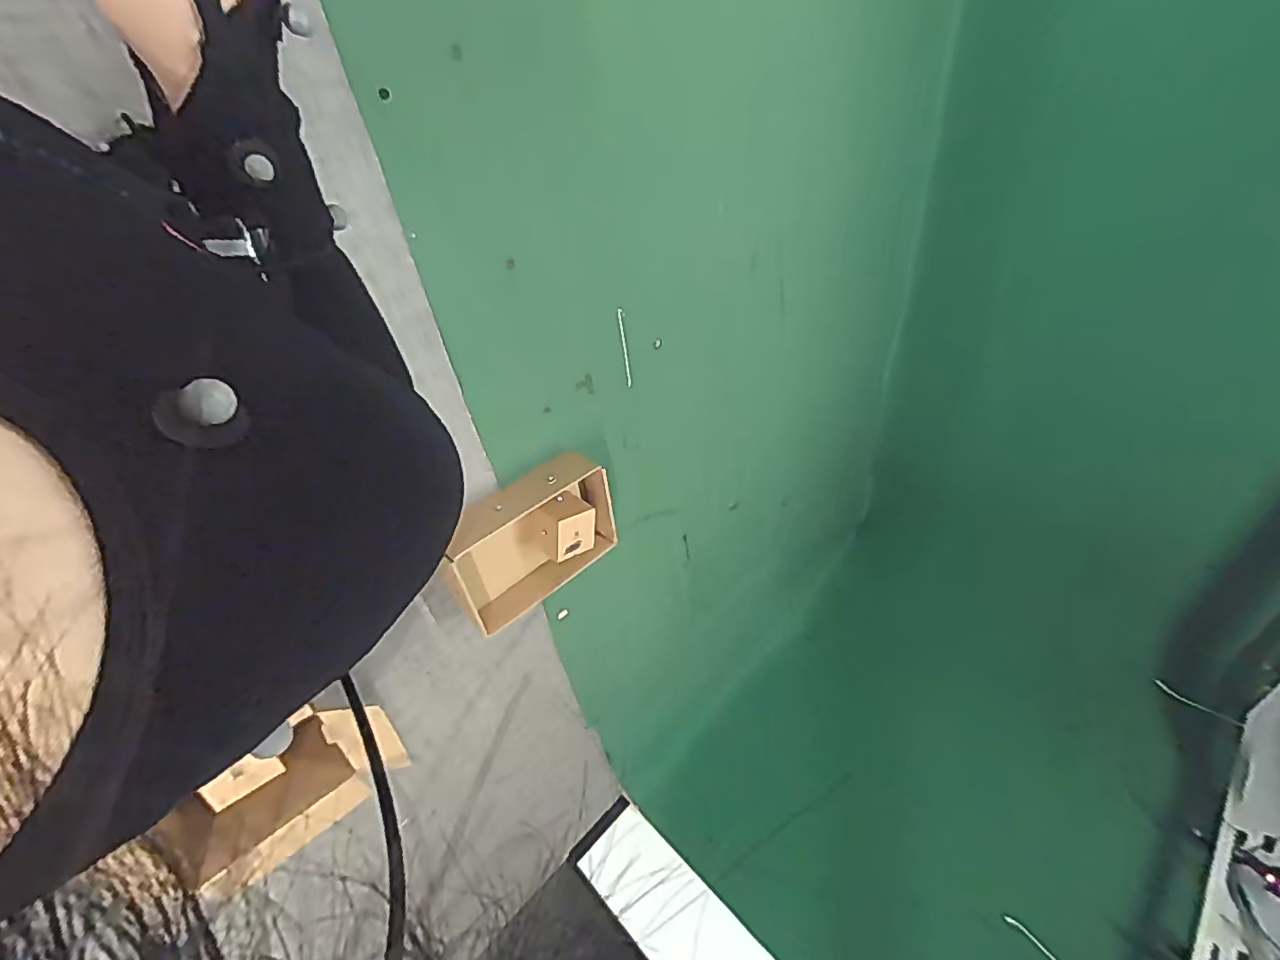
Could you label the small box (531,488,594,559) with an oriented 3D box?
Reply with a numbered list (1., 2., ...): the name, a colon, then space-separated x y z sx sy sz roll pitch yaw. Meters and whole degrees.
1. small box: -0.288 0.156 1.983 0.168 0.176 0.179 -20 127 -39
